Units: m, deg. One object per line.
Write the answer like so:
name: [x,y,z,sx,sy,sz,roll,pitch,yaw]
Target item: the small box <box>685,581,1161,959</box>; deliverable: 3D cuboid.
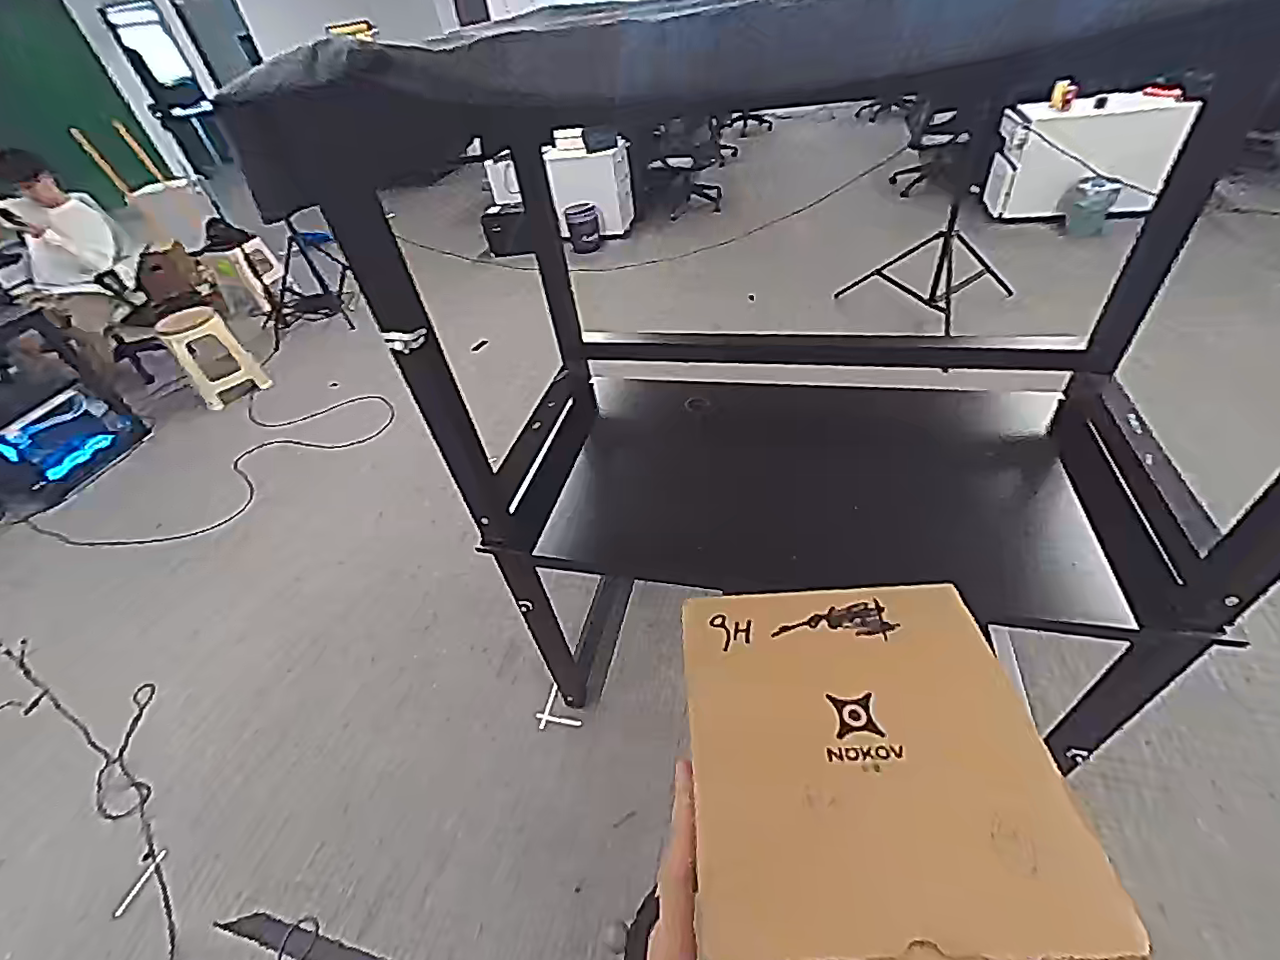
small box: [0.114,0.181,0.311,0.168,0.176,0.179,-3,41,3]
